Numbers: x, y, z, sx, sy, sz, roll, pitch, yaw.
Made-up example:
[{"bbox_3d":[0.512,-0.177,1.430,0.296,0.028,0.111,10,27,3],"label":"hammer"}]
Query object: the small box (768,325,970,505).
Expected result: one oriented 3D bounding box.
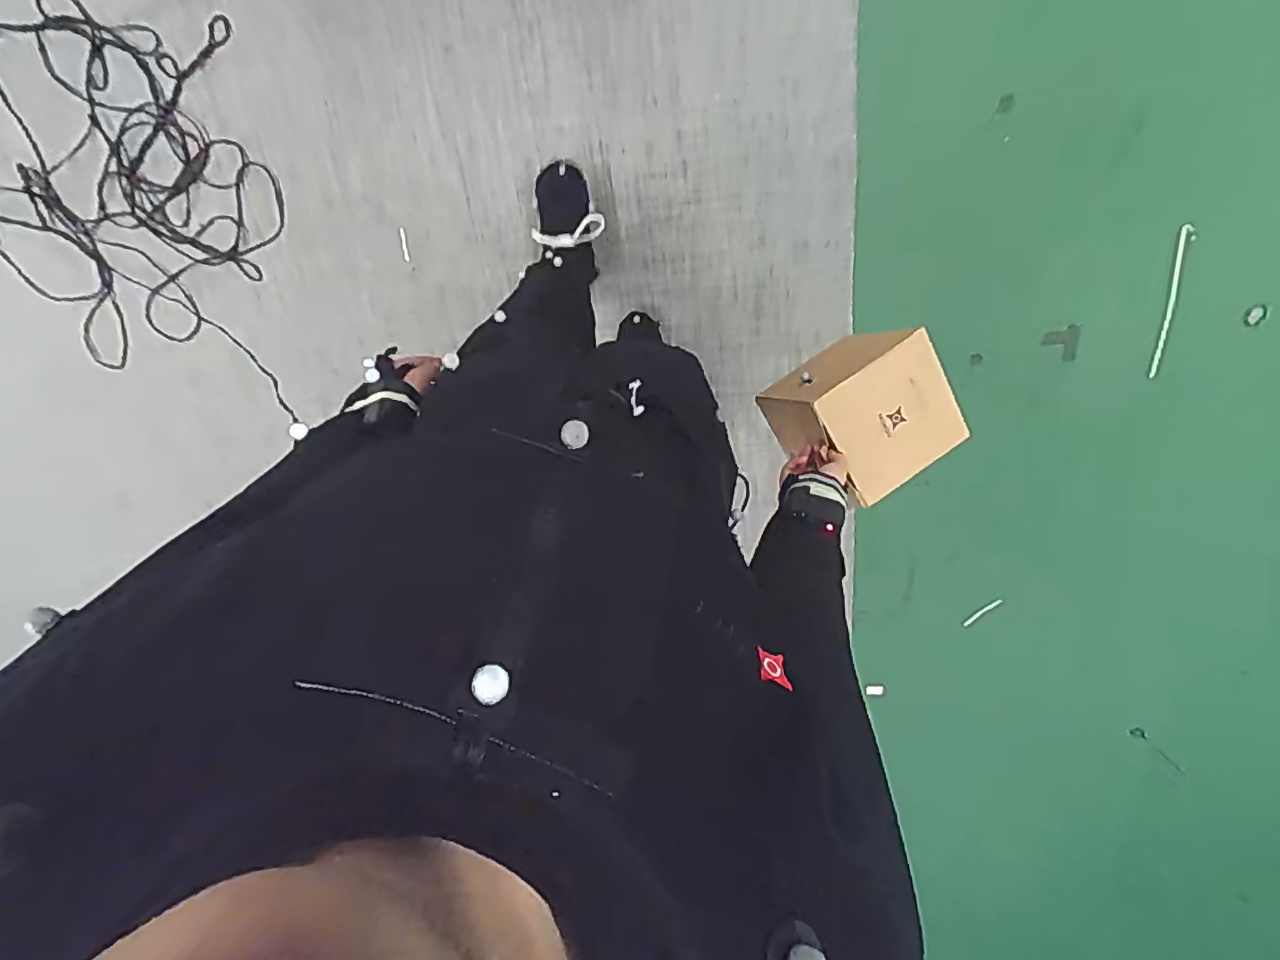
[{"bbox_3d":[0.303,-0.093,0.755,0.179,0.176,0.168,-35,107,-5],"label":"small box"}]
